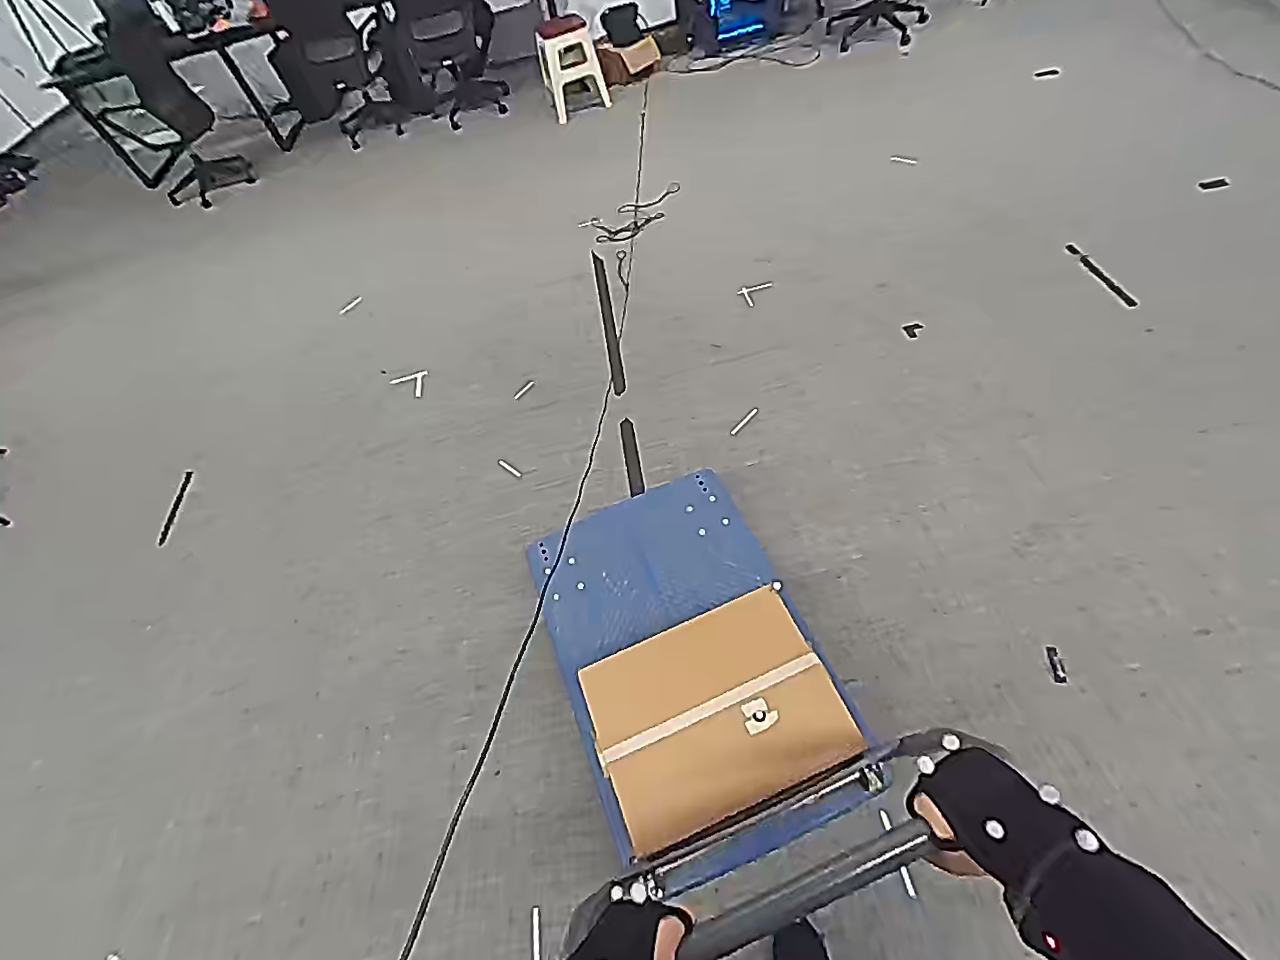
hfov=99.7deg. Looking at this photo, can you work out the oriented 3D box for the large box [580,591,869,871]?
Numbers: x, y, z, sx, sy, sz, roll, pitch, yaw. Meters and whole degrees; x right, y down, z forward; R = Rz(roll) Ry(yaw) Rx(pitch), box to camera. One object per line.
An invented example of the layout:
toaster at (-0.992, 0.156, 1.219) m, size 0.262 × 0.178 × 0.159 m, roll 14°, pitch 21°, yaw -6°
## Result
large box at (0.147, 0.480, 1.031) m, size 0.408 × 0.320 × 0.320 m, roll -23°, pitch 56°, yaw -5°
